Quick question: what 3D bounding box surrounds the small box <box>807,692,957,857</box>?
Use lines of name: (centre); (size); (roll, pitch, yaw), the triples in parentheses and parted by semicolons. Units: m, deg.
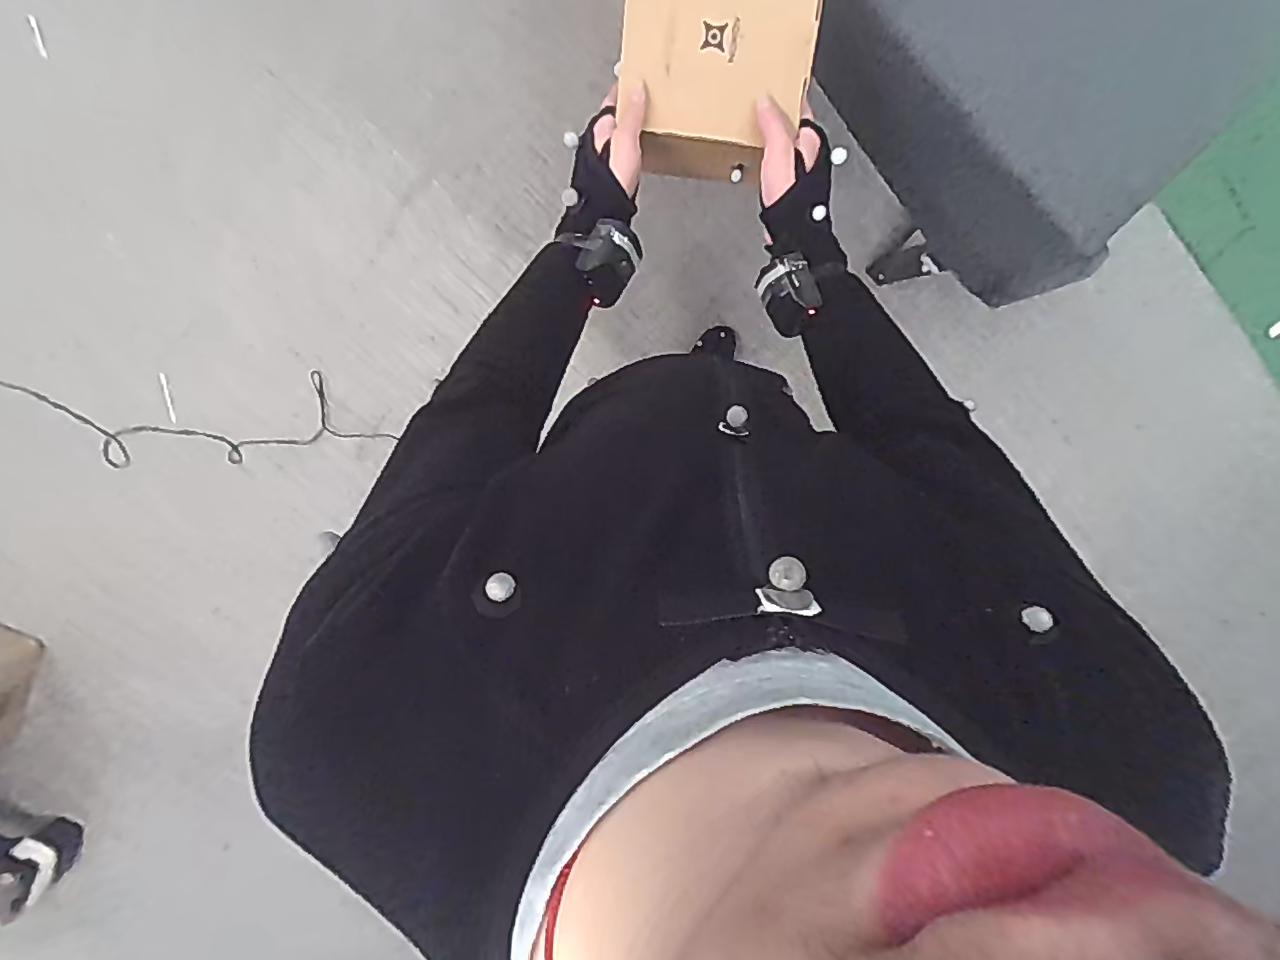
small box: (0.438, 0.545, 1.017); (0.179, 0.176, 0.168); (-41, 103, 10)

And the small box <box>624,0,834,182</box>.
small box: (0.077, -0.416, 0.547); (0.179, 0.176, 0.168); (4, 105, -2)
